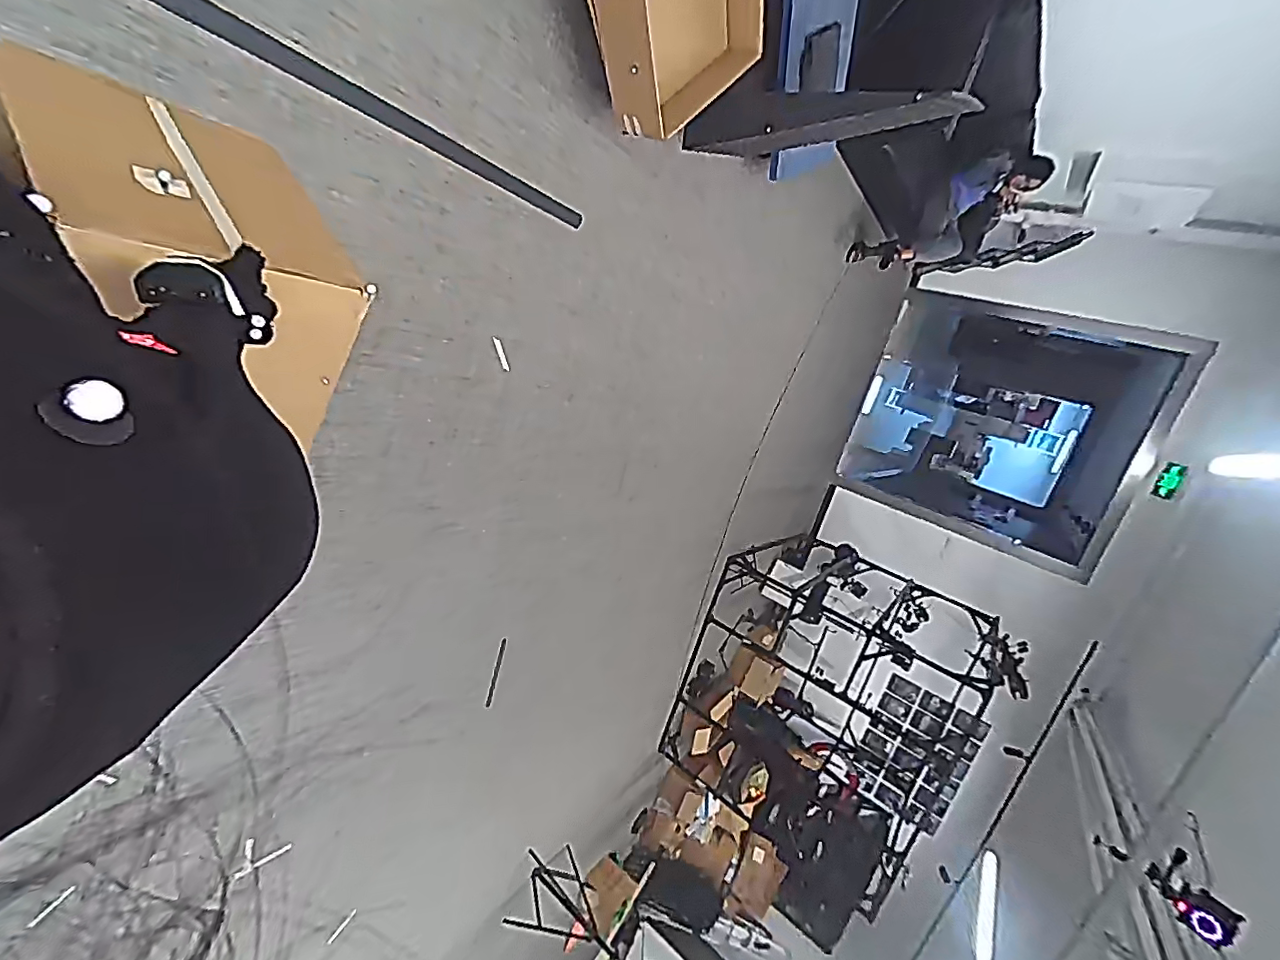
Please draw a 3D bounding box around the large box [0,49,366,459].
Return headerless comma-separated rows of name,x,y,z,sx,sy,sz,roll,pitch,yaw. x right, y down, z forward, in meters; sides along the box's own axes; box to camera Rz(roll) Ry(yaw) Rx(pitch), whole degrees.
large box,-0.670,-0.281,0.761,0.320,0.408,0.320,-8,145,-54
